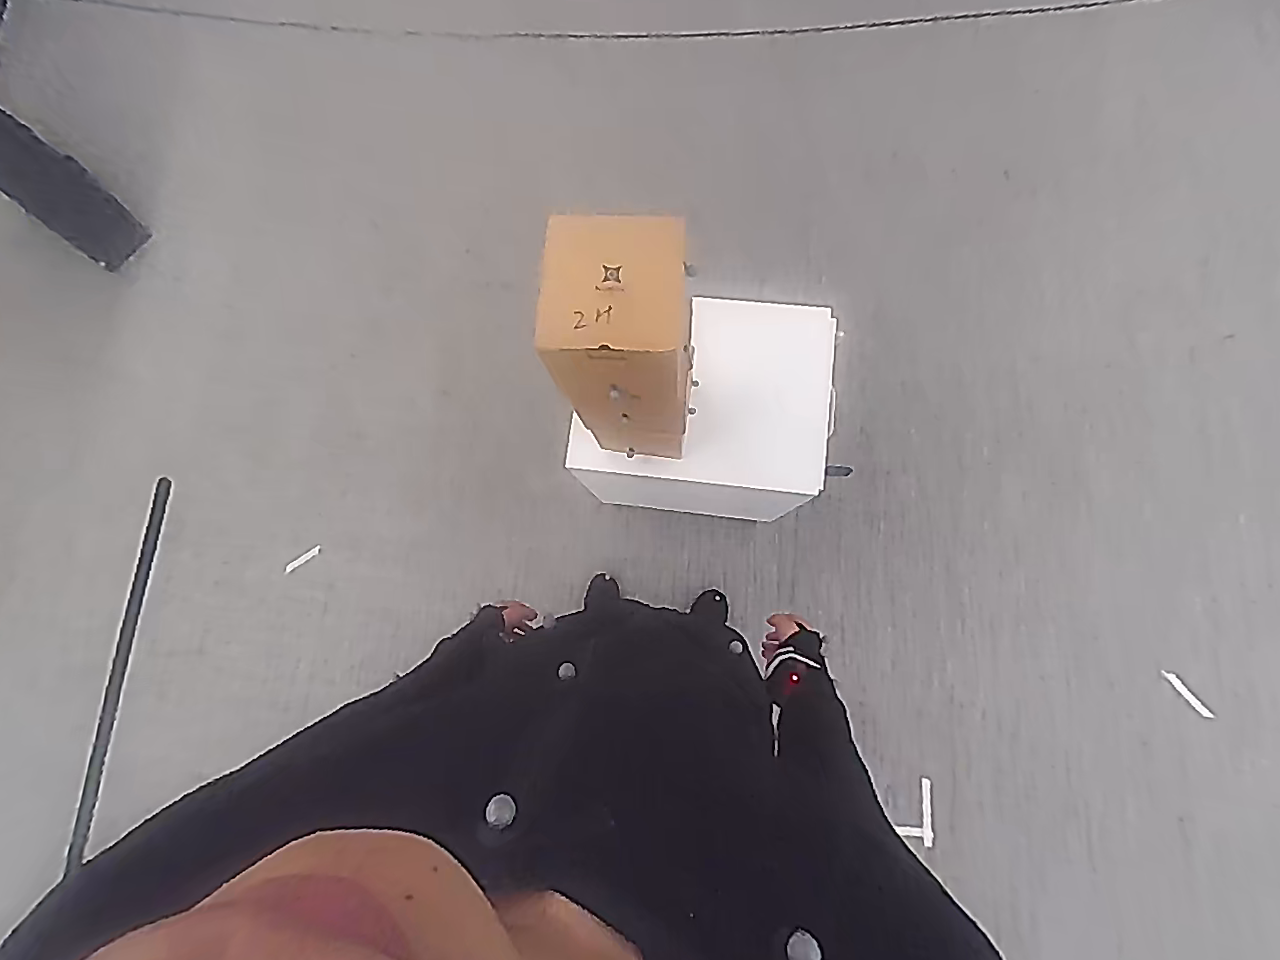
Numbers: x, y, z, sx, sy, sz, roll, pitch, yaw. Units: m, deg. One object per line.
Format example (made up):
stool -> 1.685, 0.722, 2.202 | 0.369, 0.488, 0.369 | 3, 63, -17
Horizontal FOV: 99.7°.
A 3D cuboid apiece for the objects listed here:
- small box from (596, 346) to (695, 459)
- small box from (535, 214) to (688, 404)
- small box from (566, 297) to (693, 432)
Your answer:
small box -> 0.008, -0.149, 1.023 | 0.168, 0.176, 0.179 | 7, 80, 5
small box -> -0.026, -0.213, 0.702 | 0.168, 0.176, 0.179 | 3, 79, 6
small box -> -0.009, -0.178, 0.862 | 0.179, 0.176, 0.168 | 3, 79, 6
